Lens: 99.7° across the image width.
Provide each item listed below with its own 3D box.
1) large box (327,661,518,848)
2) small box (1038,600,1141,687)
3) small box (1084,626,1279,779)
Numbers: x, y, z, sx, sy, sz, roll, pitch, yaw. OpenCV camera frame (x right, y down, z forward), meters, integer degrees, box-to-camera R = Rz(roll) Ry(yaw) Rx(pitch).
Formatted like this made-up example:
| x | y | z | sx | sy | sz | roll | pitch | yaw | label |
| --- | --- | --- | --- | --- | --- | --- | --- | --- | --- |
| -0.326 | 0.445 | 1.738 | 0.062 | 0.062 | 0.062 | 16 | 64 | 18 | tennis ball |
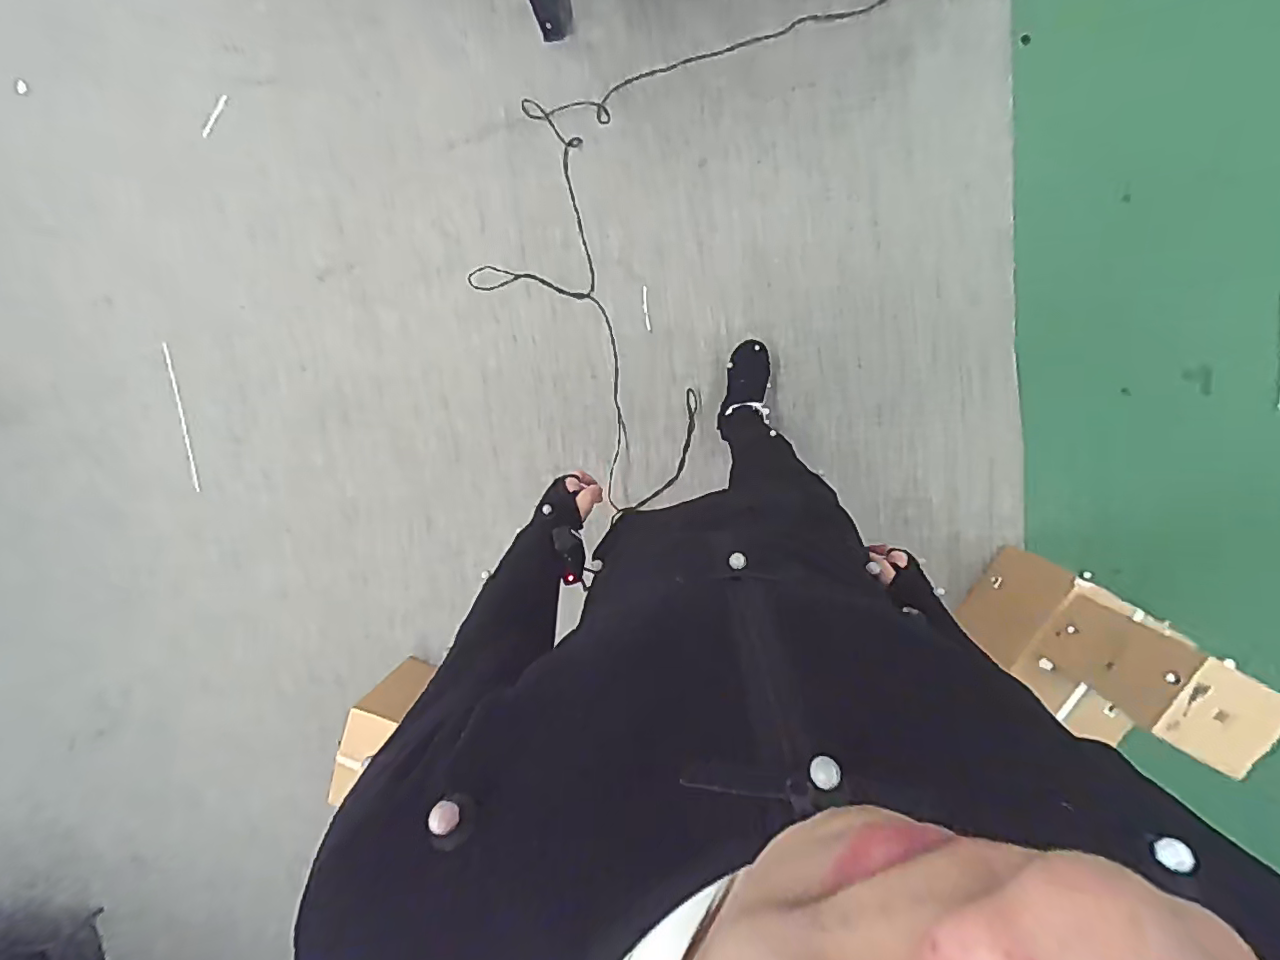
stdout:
| x | y | z | sx | sy | sz | roll | pitch | yaw | label |
| --- | --- | --- | --- | --- | --- | --- | --- | --- | --- |
| -0.635 | 0.803 | 1.629 | 0.408 | 0.320 | 0.320 | 18 | 99 | 2 | large box |
| 1.032 | 0.386 | 1.173 | 0.179 | 0.176 | 0.168 | 30 | 99 | 2 | small box |
| 1.006 | 0.403 | 1.012 | 0.179 | 0.176 | 0.168 | 29 | 99 | 1 | small box |
